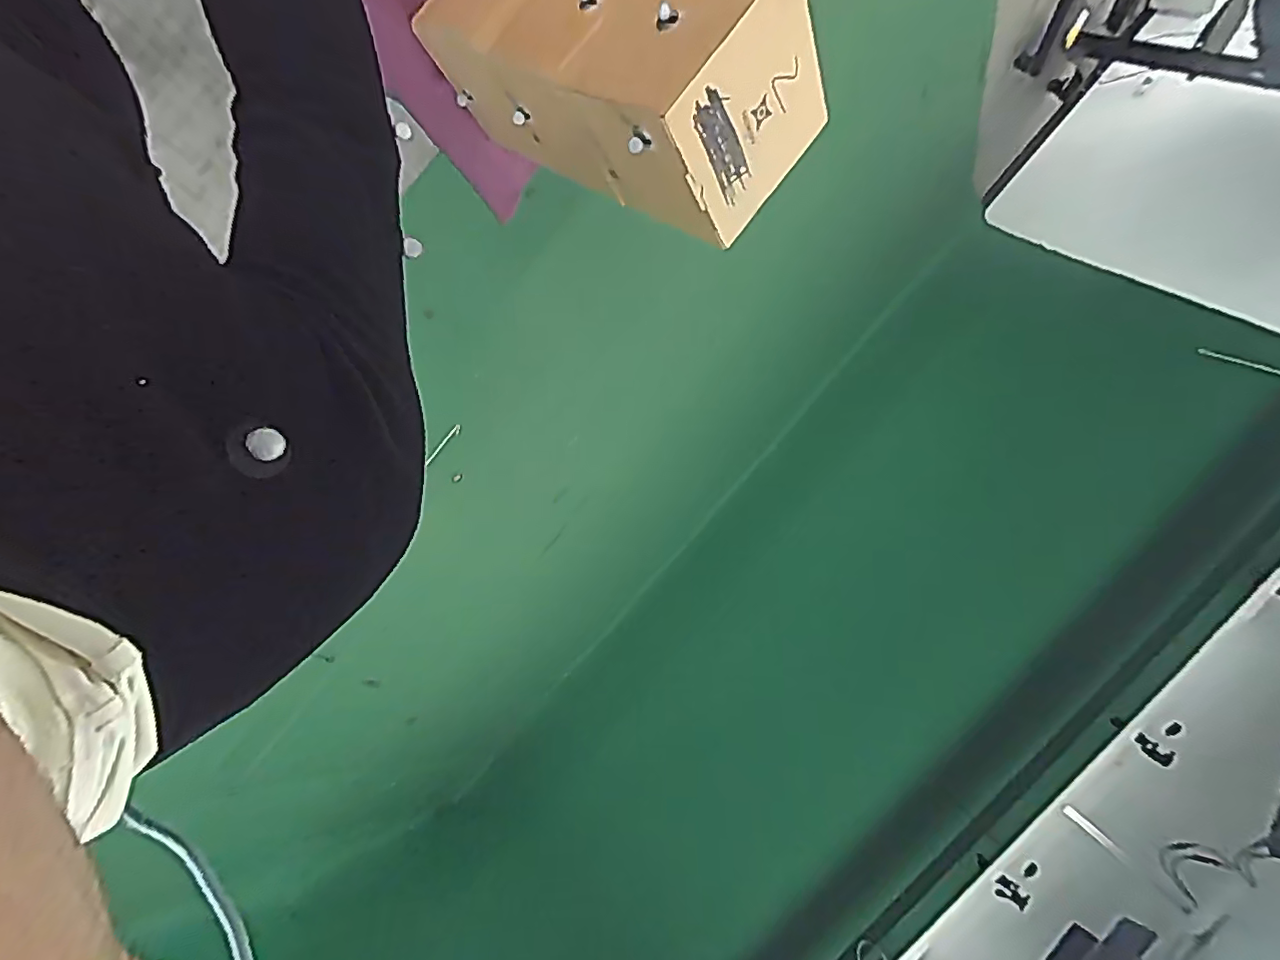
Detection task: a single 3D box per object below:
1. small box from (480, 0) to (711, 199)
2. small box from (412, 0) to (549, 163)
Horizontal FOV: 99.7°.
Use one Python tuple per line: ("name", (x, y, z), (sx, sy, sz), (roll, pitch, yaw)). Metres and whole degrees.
("small box", (-0.050, -0.481, 0.635), (0.179, 0.176, 0.168), (-48, 149, 1))
("small box", (-0.158, -0.573, 0.715), (0.168, 0.176, 0.179), (-48, 150, 0))
